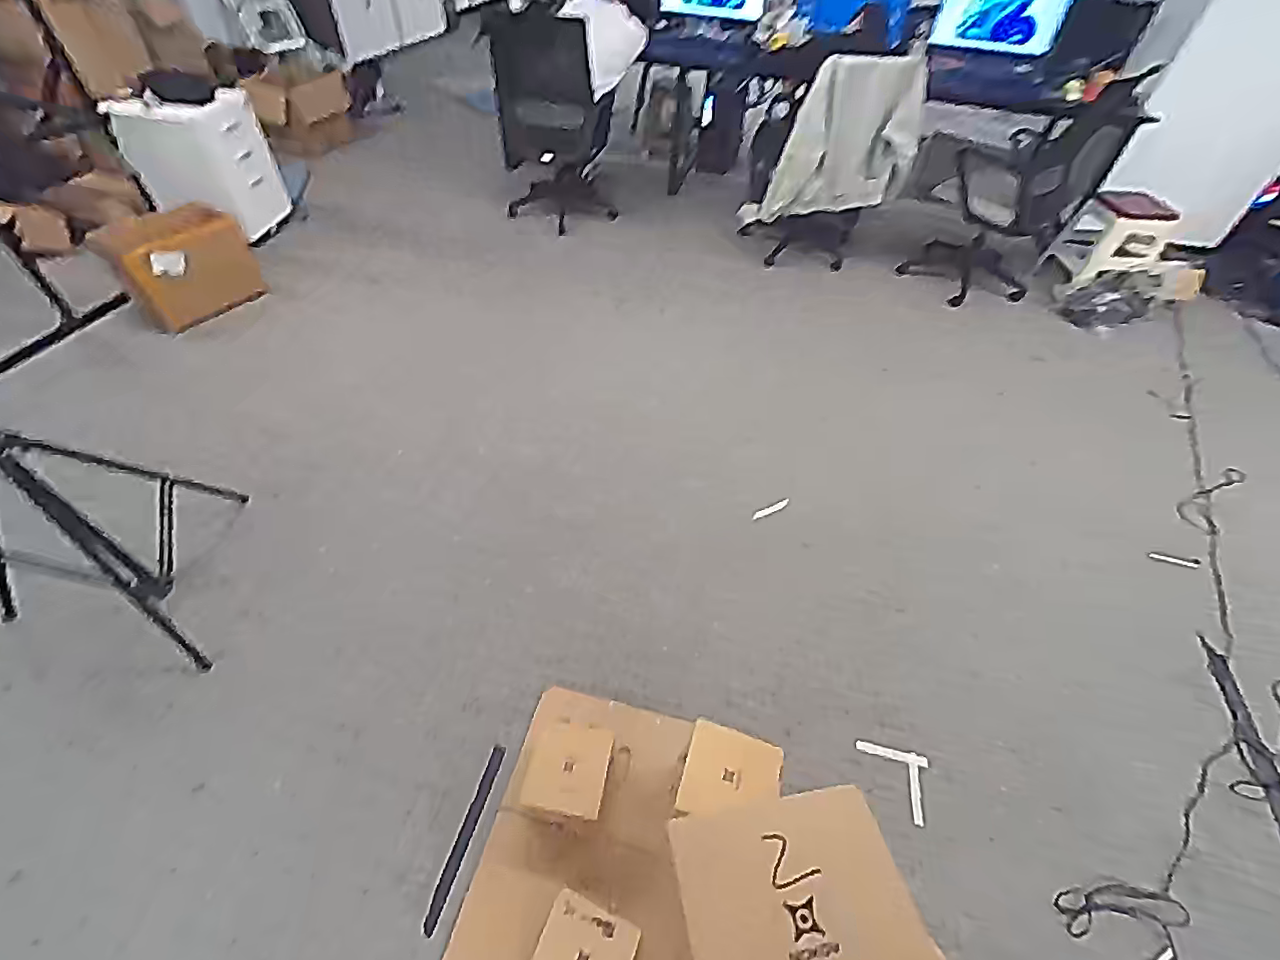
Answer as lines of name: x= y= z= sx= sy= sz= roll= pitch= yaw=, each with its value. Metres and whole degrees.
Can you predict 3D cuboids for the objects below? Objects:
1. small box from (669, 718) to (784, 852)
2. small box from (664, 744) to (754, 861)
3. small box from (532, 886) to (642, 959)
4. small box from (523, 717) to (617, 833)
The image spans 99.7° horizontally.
small box: x=0.164 y=0.598 z=1.055 sx=0.179 sy=0.176 sz=0.168 roll=16 pitch=50 yaw=9
small box: x=0.155 y=0.706 z=1.177 sx=0.179 sy=0.176 sz=0.168 roll=14 pitch=50 yaw=7
small box: x=-0.104 y=0.891 z=0.996 sx=0.168 sy=0.176 sz=0.179 roll=20 pitch=52 yaw=13
small box: x=-0.149 y=0.657 z=1.203 sx=0.168 sy=0.176 sz=0.179 roll=8 pitch=49 yaw=5
